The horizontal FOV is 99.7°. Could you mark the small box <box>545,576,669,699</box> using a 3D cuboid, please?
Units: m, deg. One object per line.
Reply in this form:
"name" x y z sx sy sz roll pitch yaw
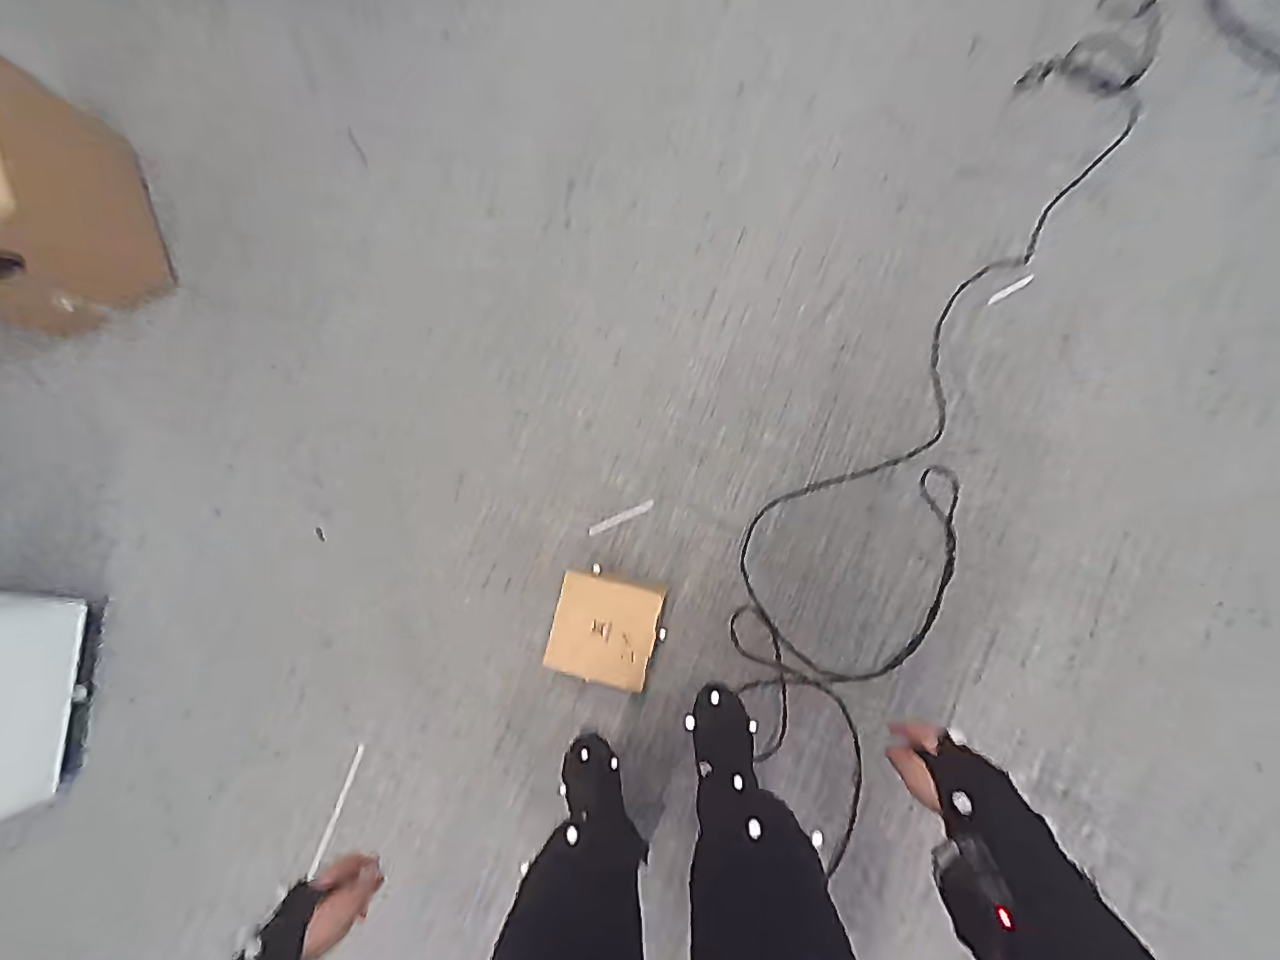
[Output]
"small box" -0.051 0.274 0.983 0.179 0.176 0.168 13 85 7
